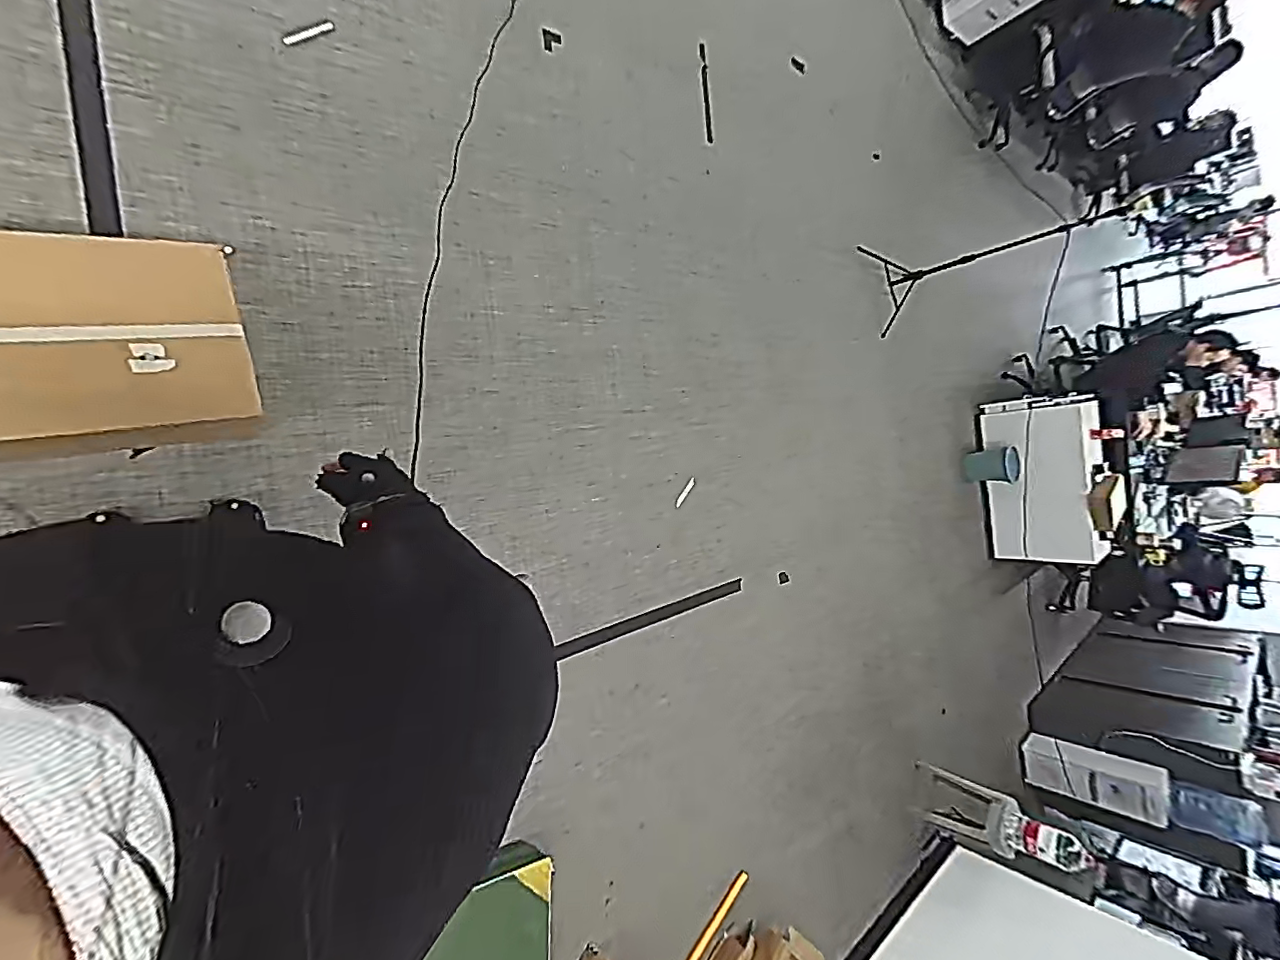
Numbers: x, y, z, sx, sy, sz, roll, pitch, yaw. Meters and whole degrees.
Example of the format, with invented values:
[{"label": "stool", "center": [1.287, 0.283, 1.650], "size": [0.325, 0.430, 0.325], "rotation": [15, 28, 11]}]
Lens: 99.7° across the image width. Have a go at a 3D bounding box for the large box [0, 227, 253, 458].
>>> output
[{"label": "large box", "center": [-0.984, -0.233, 0.977], "size": [0.408, 0.320, 0.320], "rotation": [-14, 96, -38]}]
